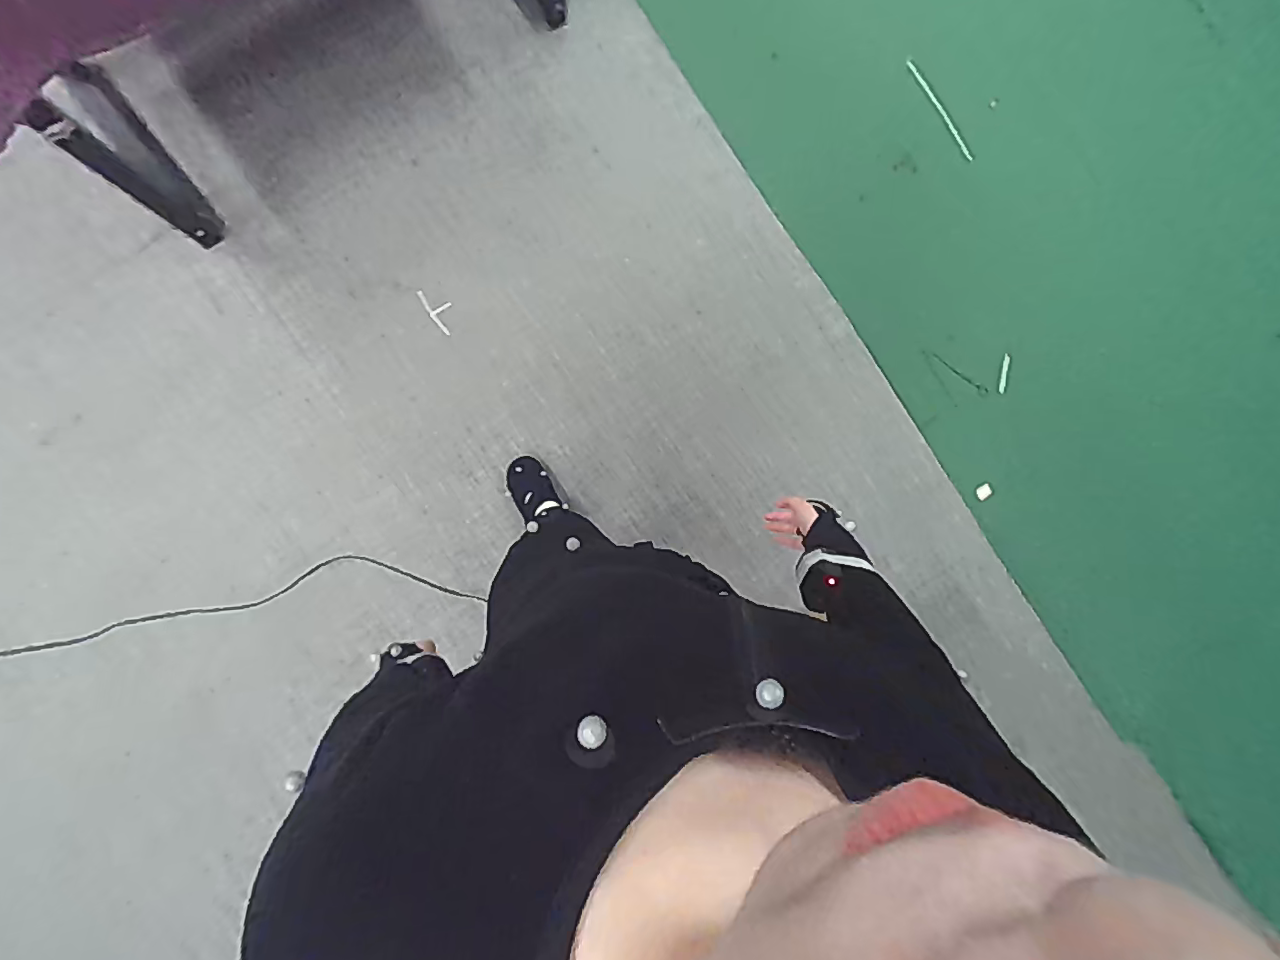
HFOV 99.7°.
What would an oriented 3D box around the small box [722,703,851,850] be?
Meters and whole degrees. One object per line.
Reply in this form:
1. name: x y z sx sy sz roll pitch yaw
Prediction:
1. small box: 0.299 0.610 1.136 0.168 0.176 0.179 -31 93 -7
